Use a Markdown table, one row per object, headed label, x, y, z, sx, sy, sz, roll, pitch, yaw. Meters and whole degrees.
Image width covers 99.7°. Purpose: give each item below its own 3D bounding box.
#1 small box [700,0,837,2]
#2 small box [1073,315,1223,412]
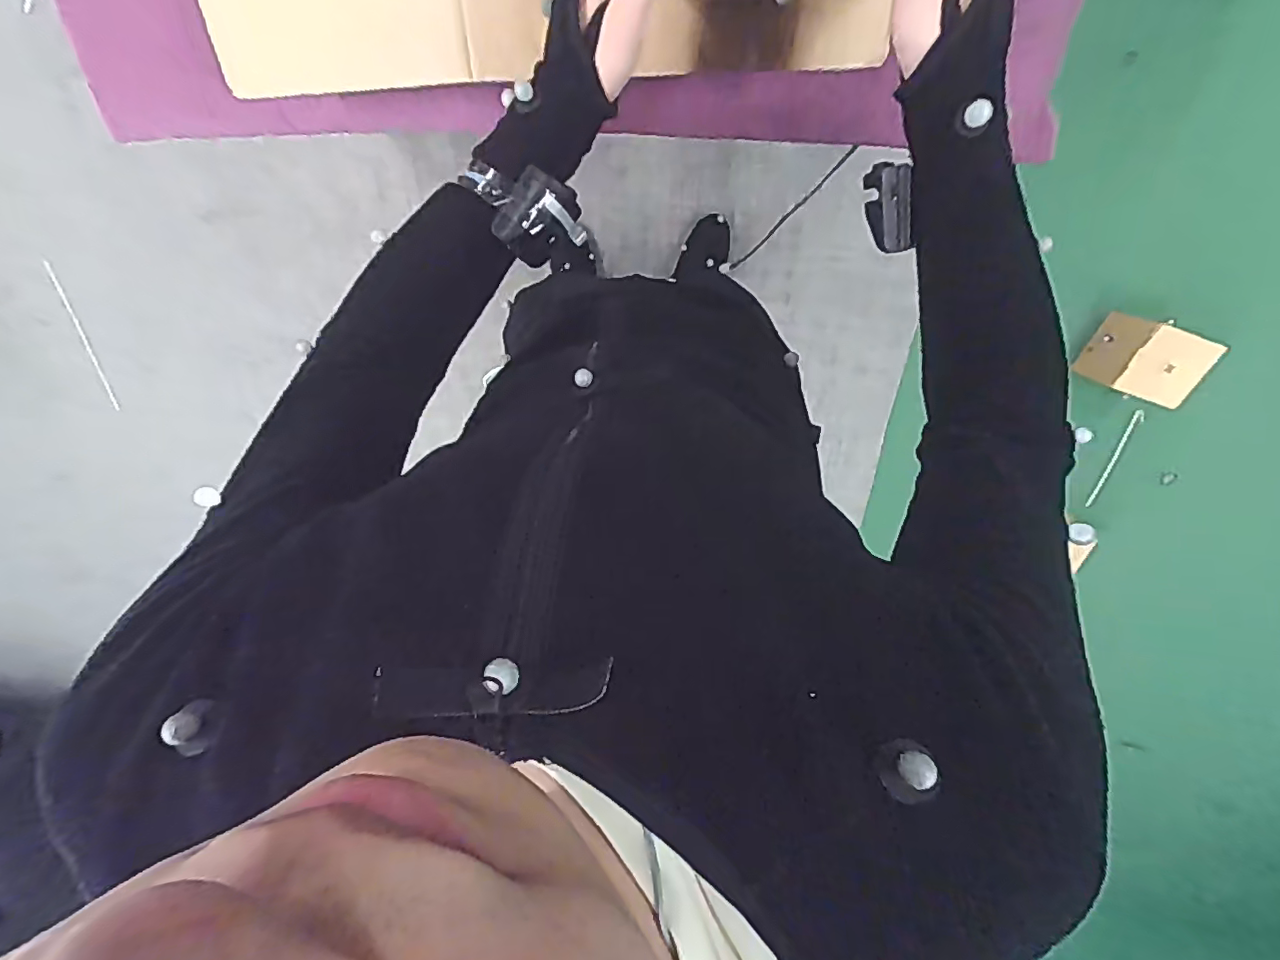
| label | x | y | z | sx | sy | sz | roll | pitch | yaw |
| --- | --- | --- | --- | --- | --- | --- | --- | --- | --- |
| small box | 0.115 | -0.462 | 0.364 | 0.168 | 0.176 | 0.179 | 1 | 119 | 3 |
| small box | 1.259 | -0.298 | 1.357 | 0.179 | 0.176 | 0.168 | 18 | 119 | -2 |
